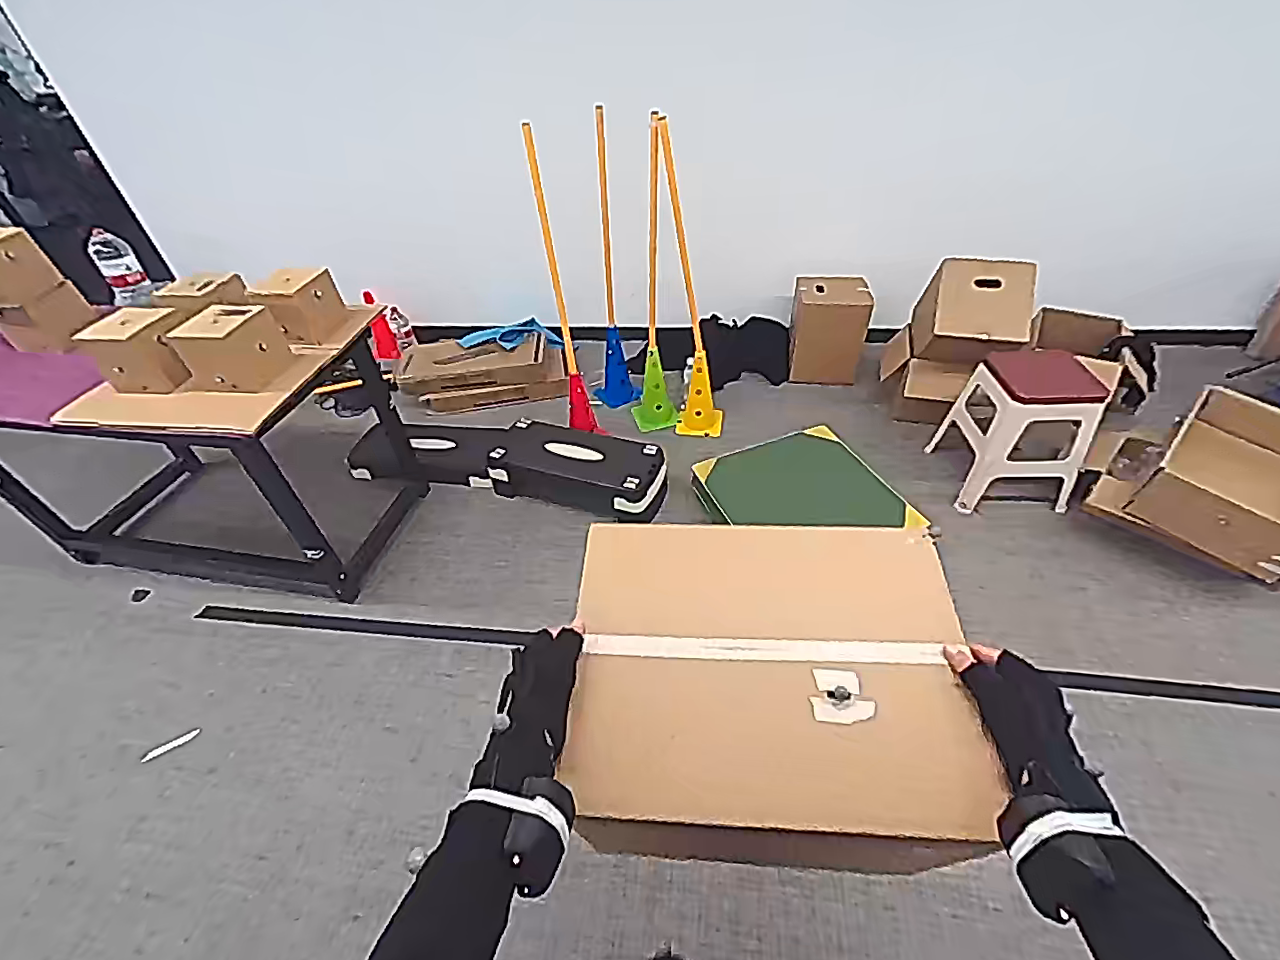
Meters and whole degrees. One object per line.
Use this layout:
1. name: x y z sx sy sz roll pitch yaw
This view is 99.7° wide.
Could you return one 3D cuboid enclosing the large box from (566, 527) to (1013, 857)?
1. large box: 0.142 0.272 0.689 0.408 0.320 0.320 0 51 5
